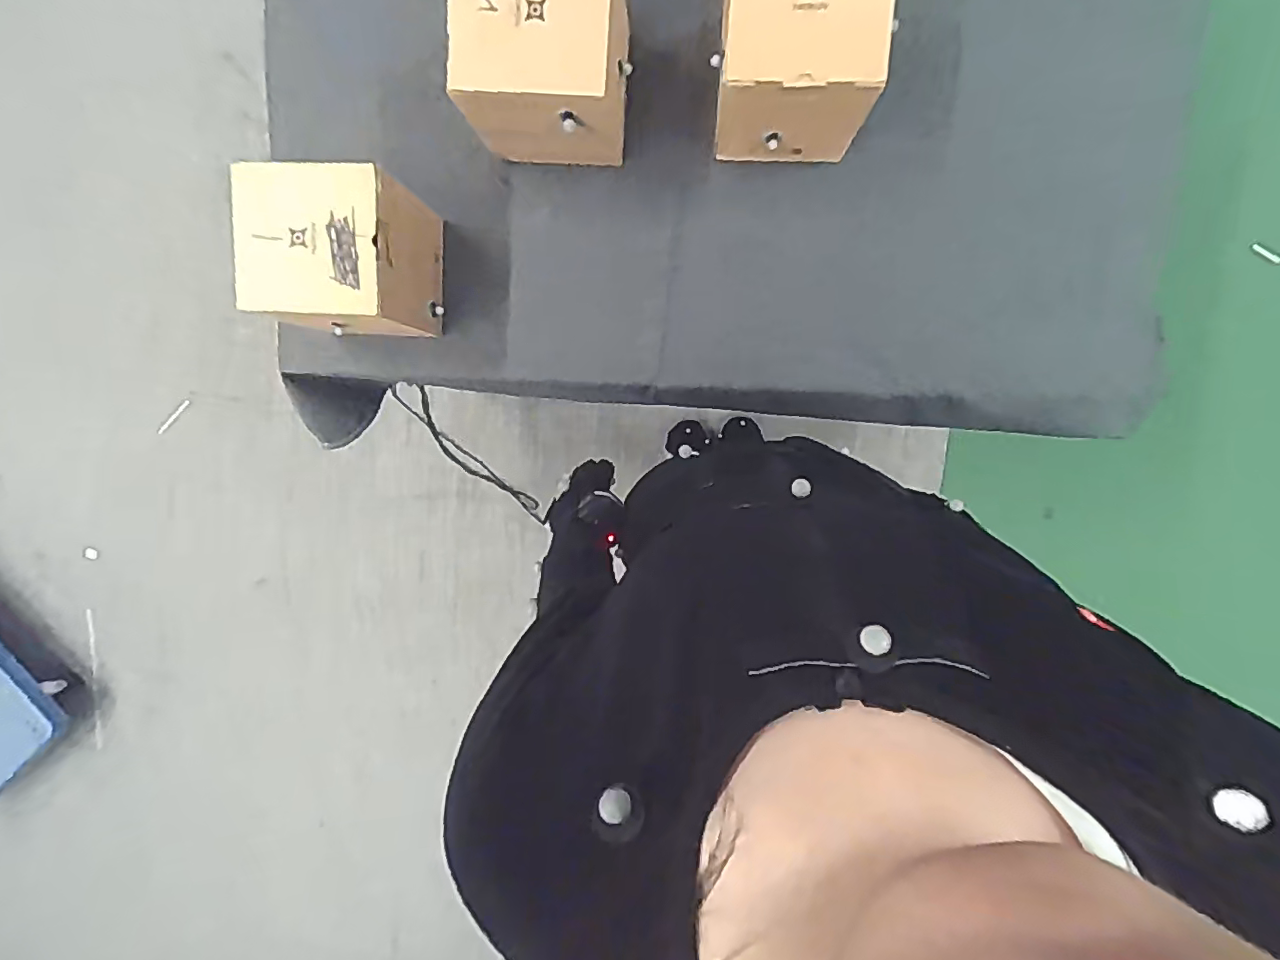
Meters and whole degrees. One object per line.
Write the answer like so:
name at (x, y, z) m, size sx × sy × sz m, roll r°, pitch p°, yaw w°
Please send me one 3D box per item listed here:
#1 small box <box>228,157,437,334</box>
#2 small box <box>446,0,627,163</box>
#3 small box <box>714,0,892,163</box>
small box at (-0.375, -0.285, 0.690) m, size 0.179 × 0.176 × 0.168 m, roll 3°, pitch 96°, yaw 4°
small box at (-0.111, -0.503, 0.645) m, size 0.179 × 0.176 × 0.168 m, roll 5°, pitch 98°, yaw 3°
small box at (0.178, -0.502, 0.628) m, size 0.168 × 0.176 × 0.179 m, roll 3°, pitch 98°, yaw 4°
